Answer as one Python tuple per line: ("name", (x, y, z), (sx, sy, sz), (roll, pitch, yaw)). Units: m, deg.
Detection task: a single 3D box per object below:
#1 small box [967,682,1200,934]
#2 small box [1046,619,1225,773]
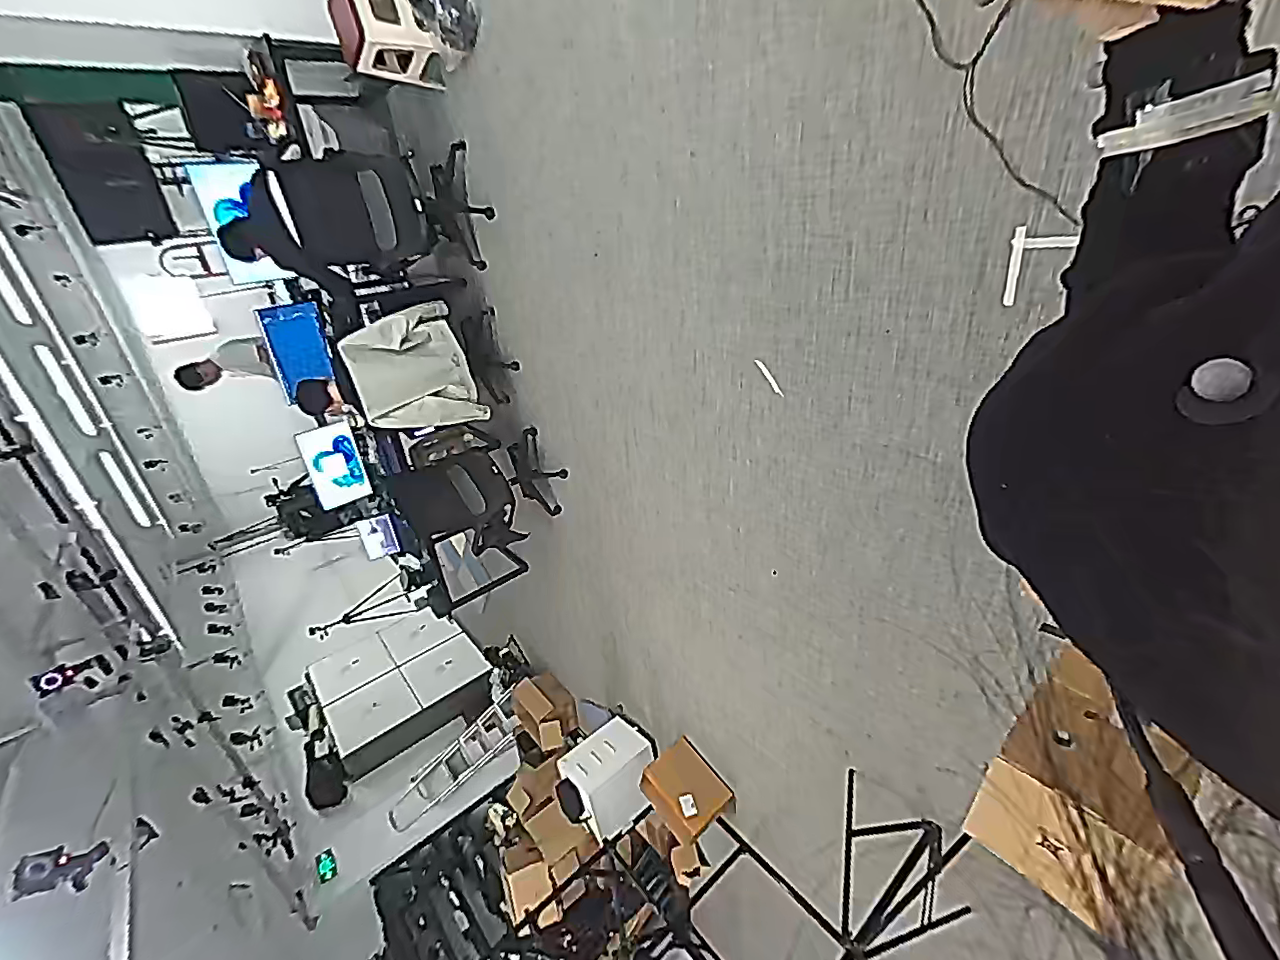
("small box", (0.551, 0.395, 0.679), (0.168, 0.176, 0.179), (29, 135, 44))
("small box", (0.674, 0.331, 0.764), (0.168, 0.176, 0.179), (28, 133, 42))
